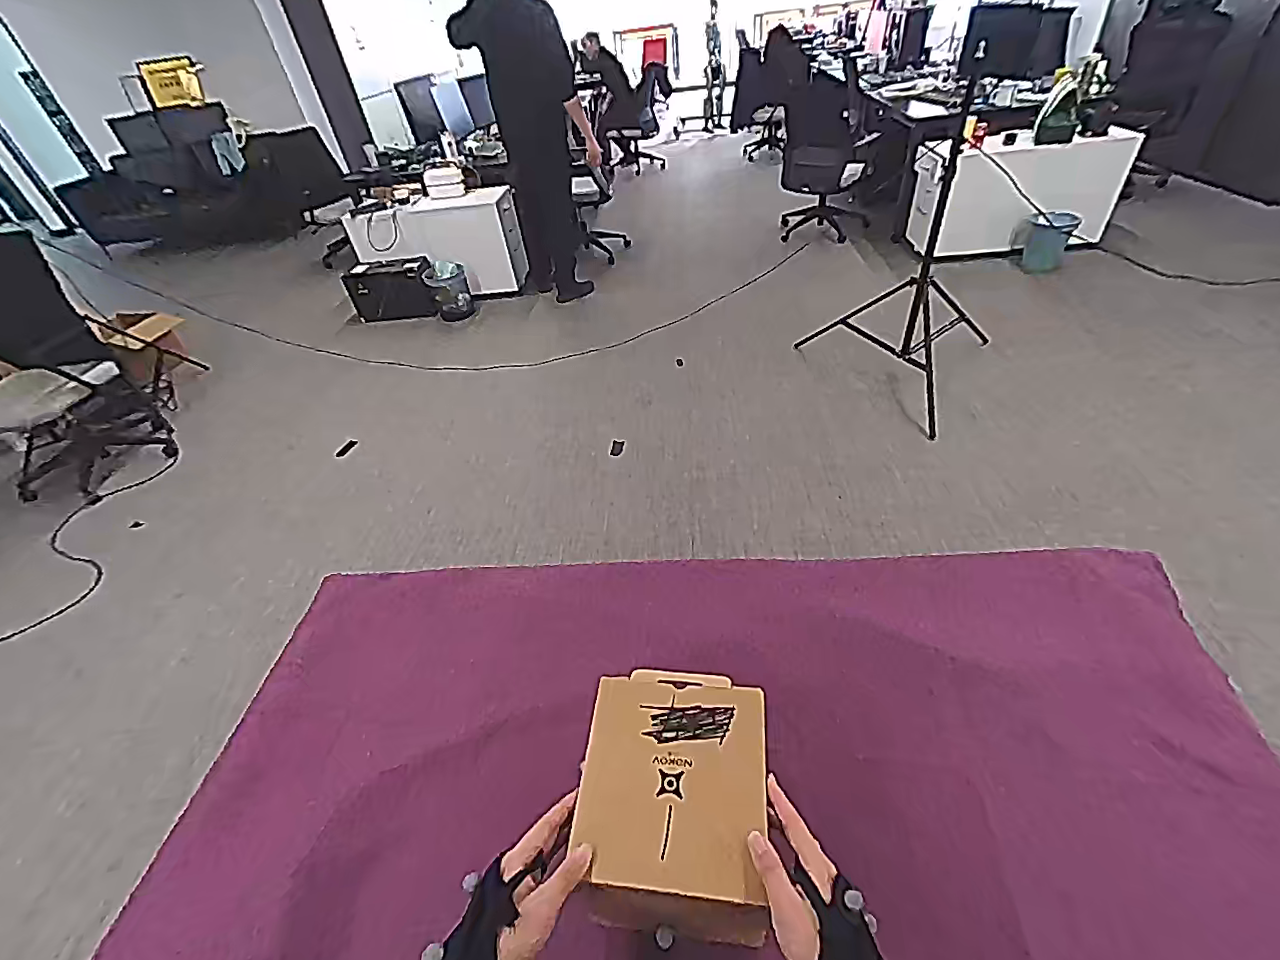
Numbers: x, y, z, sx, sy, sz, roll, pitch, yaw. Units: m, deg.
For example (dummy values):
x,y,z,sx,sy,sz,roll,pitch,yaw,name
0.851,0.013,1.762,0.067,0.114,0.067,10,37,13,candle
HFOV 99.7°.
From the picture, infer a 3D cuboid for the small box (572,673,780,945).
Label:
x,y,z,sx,sy,sz,roll,pitch,yaw,name
0.044,0.316,0.529,0.168,0.176,0.179,0,41,10,small box
